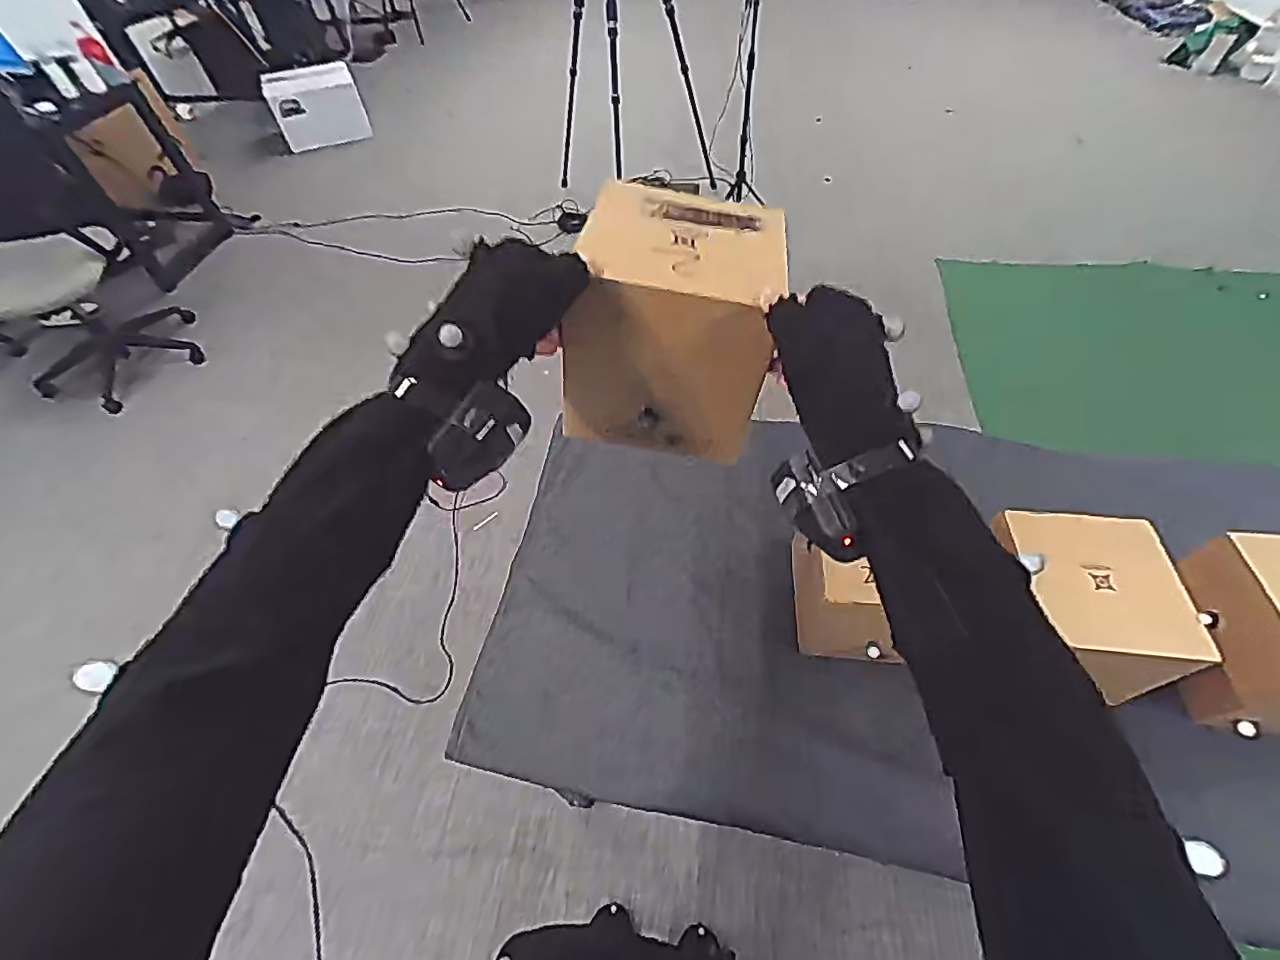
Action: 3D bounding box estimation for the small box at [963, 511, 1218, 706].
[{"bbox_3d":[0.514,0.161,0.662,0.168,0.176,0.179,4,52,7],"label":"small box"}]

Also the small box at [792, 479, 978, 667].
[{"bbox_3d":[0.297,0.121,0.704,0.168,0.176,0.179,3,52,6],"label":"small box"}]

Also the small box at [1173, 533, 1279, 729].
[{"bbox_3d":[0.751,0.183,0.627,0.168,0.176,0.179,4,51,6],"label":"small box"}]
